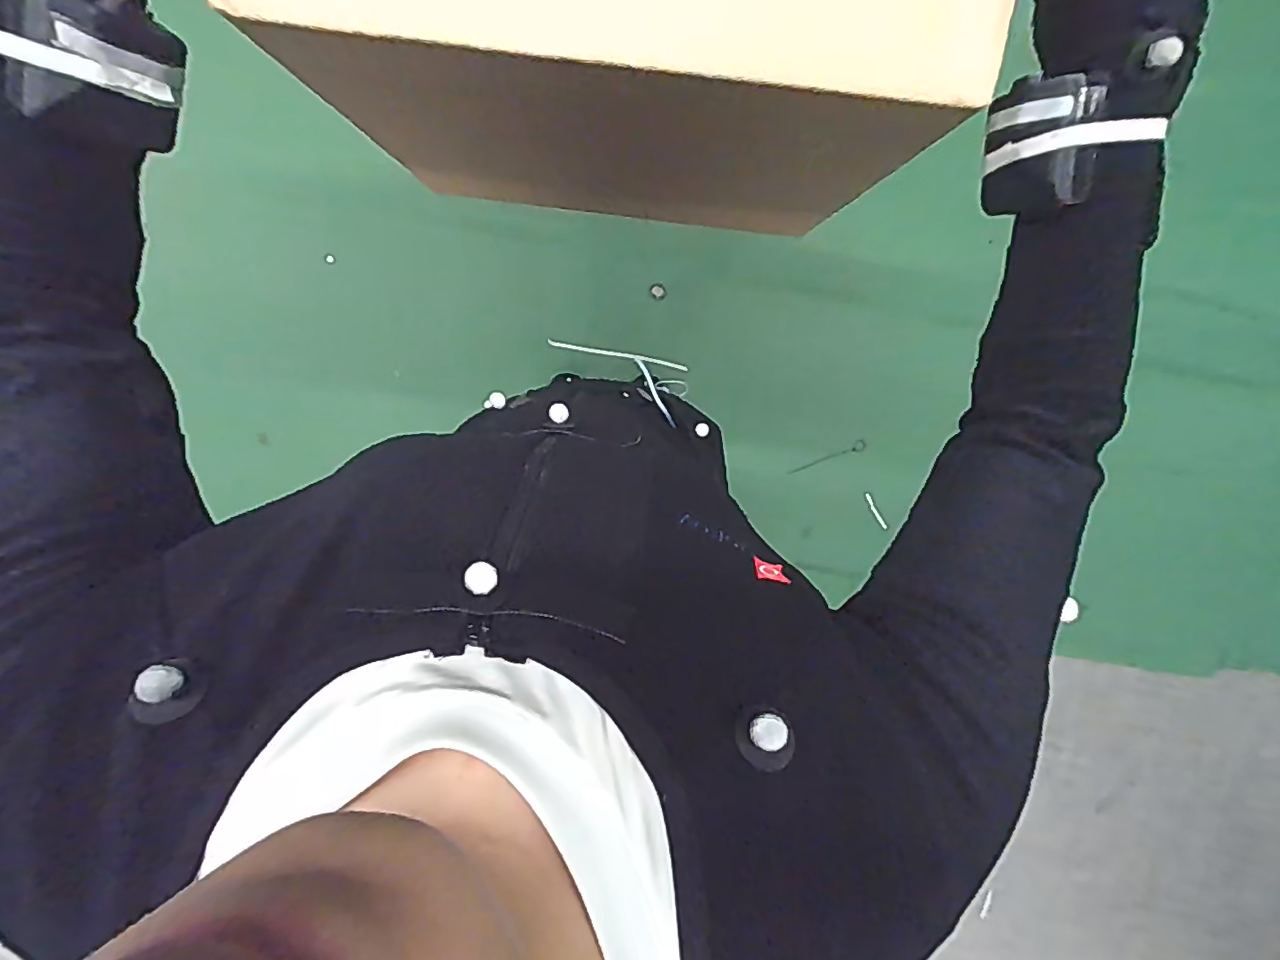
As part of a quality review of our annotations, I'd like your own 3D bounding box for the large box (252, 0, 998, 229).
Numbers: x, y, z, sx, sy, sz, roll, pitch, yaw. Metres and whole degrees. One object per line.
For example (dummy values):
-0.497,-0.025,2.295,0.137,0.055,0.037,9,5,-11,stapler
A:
0.001,-0.404,0.407,0.408,0.320,0.320,5,103,-2,large box
